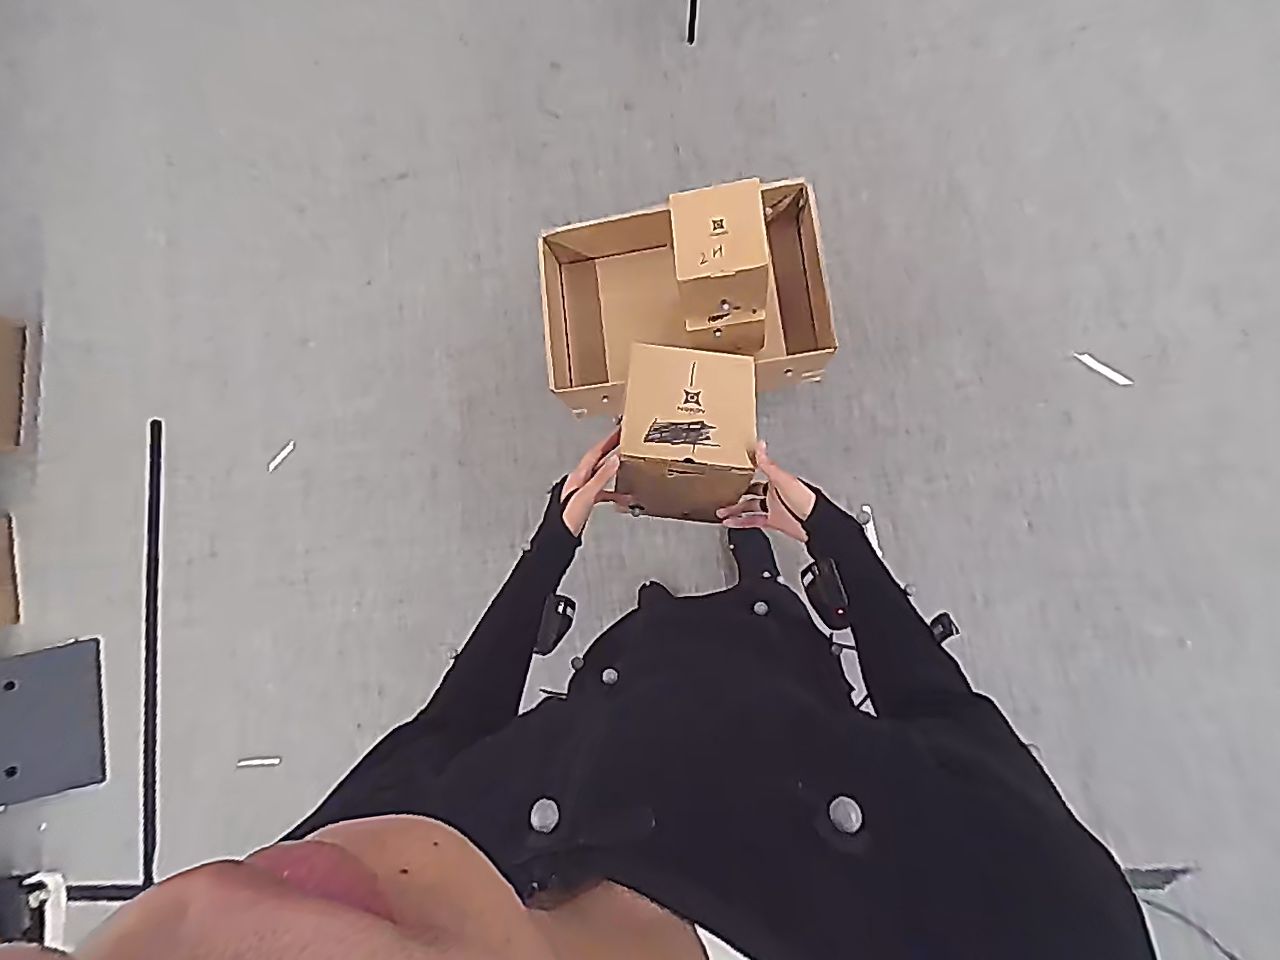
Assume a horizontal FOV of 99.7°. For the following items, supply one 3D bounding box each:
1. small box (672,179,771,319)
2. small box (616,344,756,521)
[{"bbox_3d":[0.158,-0.436,1.045,0.168,0.176,0.179,-6,82,11],"label":"small box"},{"bbox_3d":[0.057,-0.056,0.739,0.168,0.176,0.179,6,63,-3],"label":"small box"}]
